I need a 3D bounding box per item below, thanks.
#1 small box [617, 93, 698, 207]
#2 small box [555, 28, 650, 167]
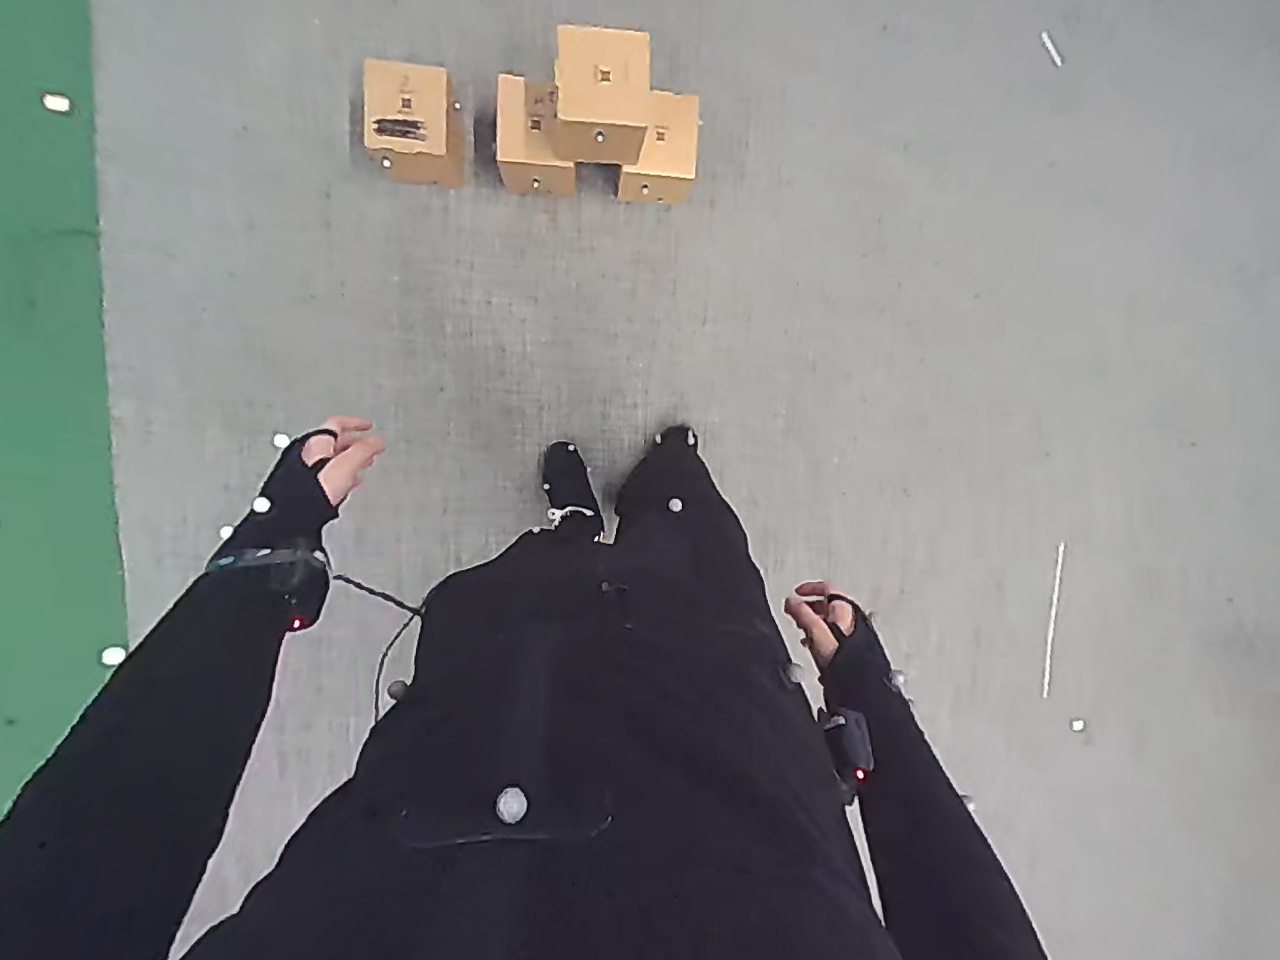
[{"bbox_3d":[0.036,-0.766,1.269,0.168,0.176,0.179,2,96,-6],"label":"small box"},{"bbox_3d":[-0.080,-0.759,1.092,0.179,0.176,0.168,0,97,-8],"label":"small box"}]
